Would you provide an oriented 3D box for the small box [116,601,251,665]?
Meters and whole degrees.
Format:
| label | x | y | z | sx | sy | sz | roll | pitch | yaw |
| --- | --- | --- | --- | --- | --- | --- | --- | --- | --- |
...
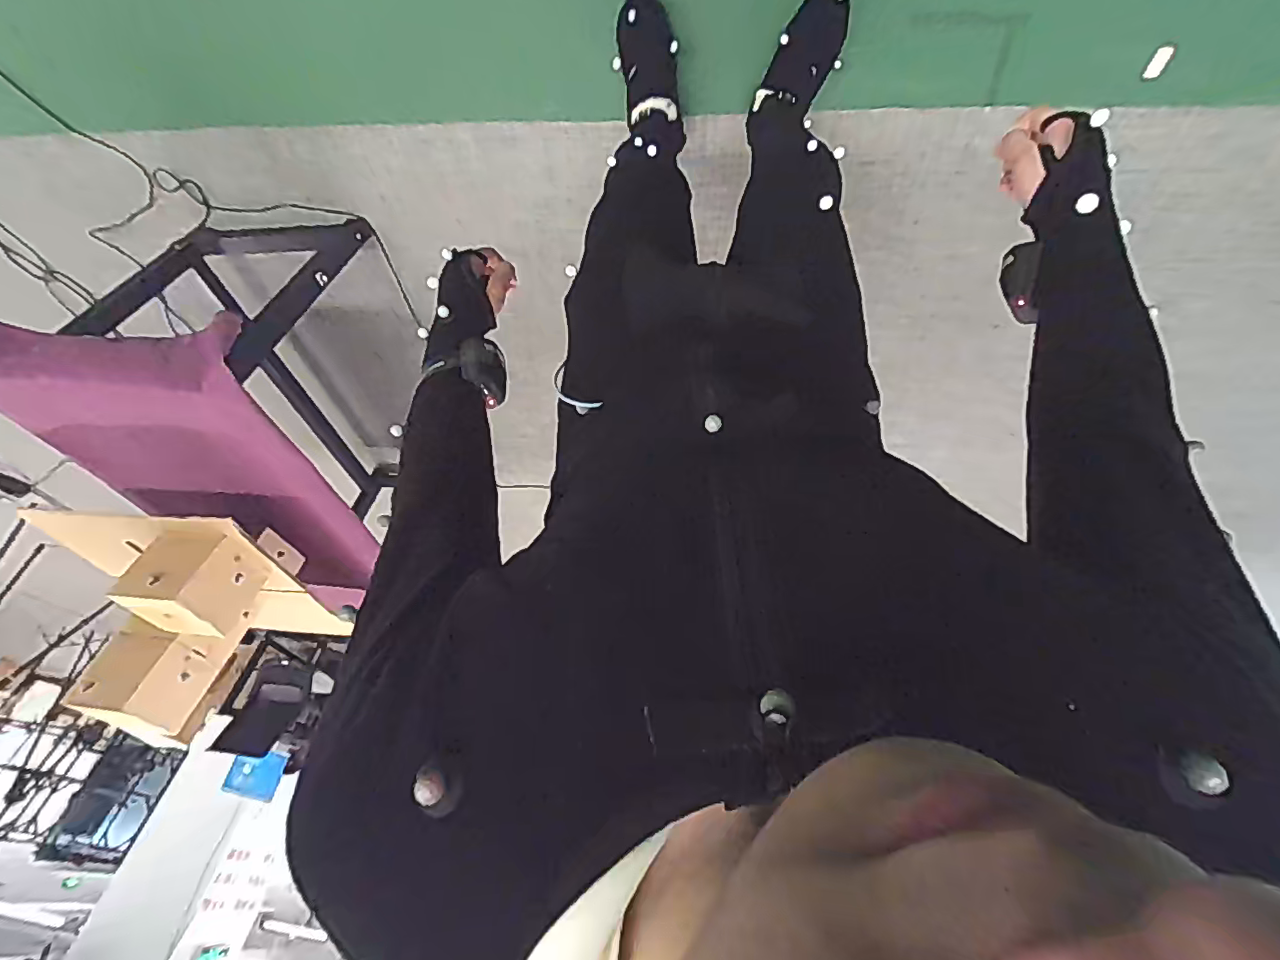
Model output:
| label | x | y | z | sx | sy | sz | roll | pitch | yaw |
| --- | --- | --- | --- | --- | --- | --- | --- | --- | --- |
| small box | -1.152 | 0.357 | 1.389 | 0.179 | 0.176 | 0.168 | 2 | 138 | 11 |

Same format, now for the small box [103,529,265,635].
| label | x | y | z | sx | sy | sz | roll | pitch | yaw |
| --- | --- | --- | --- | --- | --- | --- | --- | --- | --- |
| small box | -0.995 | 0.223 | 1.200 | 0.179 | 0.176 | 0.168 | 1 | 139 | 10 |

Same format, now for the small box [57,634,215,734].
| label | x | y | z | sx | sy | sz | roll | pitch | yaw |
| --- | --- | --- | --- | --- | --- | --- | --- | --- | --- |
| small box | -1.180 | 0.480 | 1.283 | 0.179 | 0.176 | 0.168 | 1 | 139 | 10 |
